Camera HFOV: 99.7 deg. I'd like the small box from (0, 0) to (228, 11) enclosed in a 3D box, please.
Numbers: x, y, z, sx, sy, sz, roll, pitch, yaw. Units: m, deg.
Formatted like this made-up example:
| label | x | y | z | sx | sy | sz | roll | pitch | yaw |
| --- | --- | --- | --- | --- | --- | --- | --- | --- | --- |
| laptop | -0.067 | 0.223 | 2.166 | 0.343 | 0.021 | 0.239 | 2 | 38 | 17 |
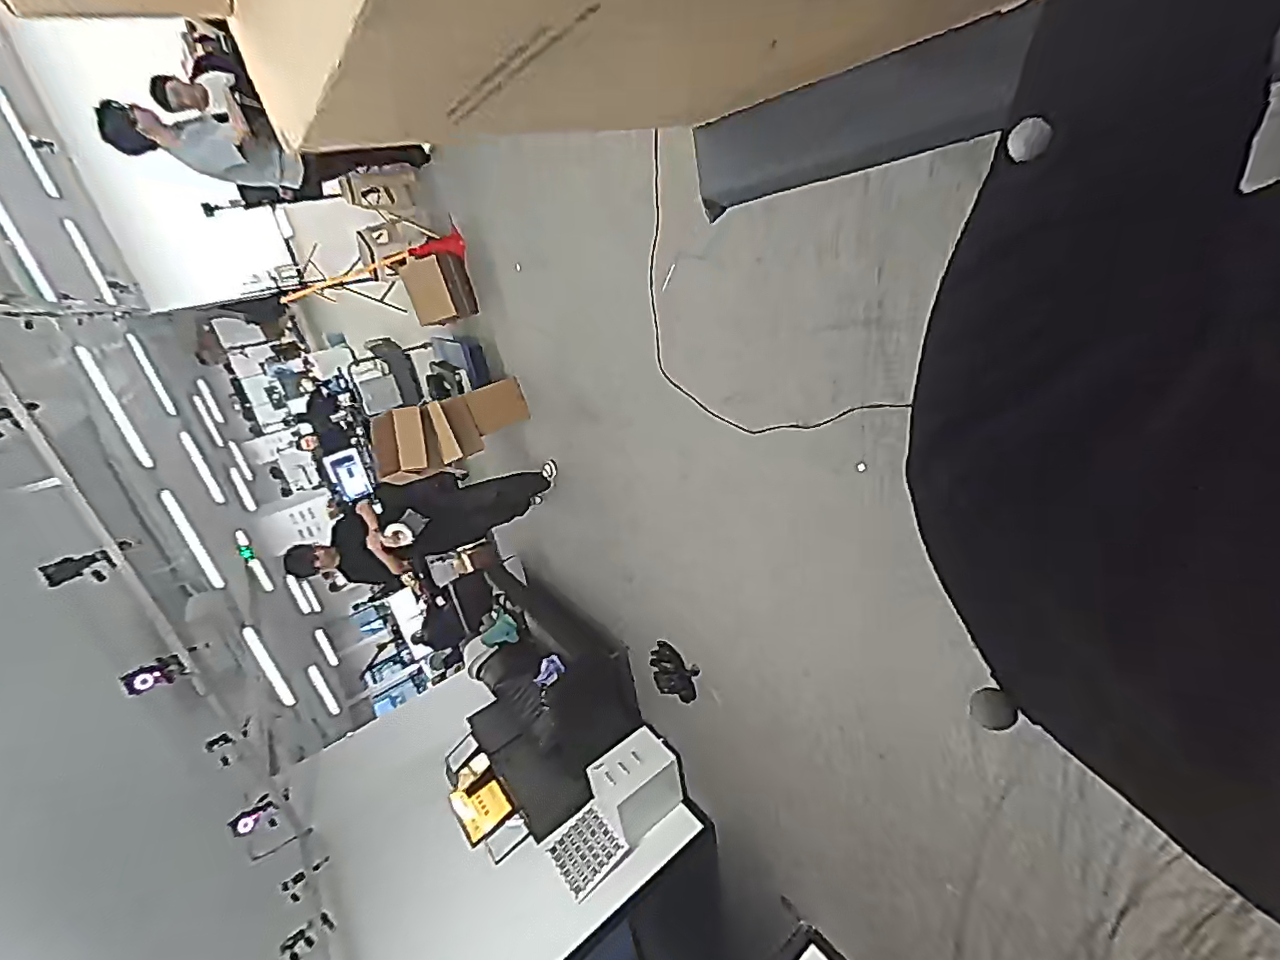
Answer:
| label | x | y | z | sx | sy | sz | roll | pitch | yaw |
| --- | --- | --- | --- | --- | --- | --- | --- | --- | --- |
| small box | -0.423 | -0.474 | 0.387 | 0.179 | 0.176 | 0.168 | 16 | 128 | 52 |
